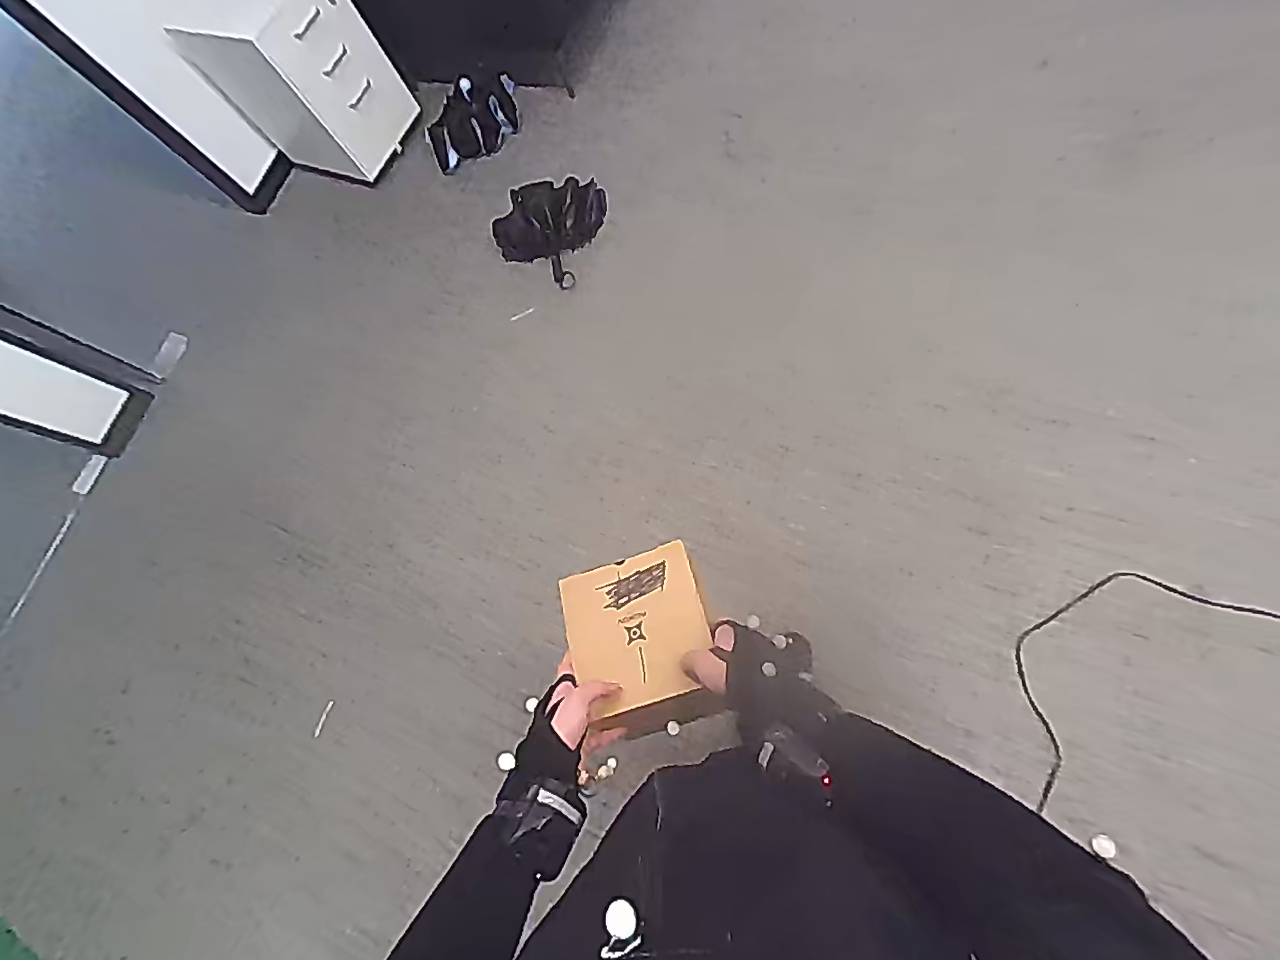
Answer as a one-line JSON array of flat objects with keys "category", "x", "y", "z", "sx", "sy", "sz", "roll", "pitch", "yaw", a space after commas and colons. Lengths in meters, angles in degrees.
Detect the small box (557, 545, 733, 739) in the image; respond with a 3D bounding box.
[{"category": "small box", "x": 0.009, "y": 0.215, "z": 0.698, "sx": 0.168, "sy": 0.176, "sz": 0.179, "roll": -20, "pitch": 56, "yaw": 7}]
